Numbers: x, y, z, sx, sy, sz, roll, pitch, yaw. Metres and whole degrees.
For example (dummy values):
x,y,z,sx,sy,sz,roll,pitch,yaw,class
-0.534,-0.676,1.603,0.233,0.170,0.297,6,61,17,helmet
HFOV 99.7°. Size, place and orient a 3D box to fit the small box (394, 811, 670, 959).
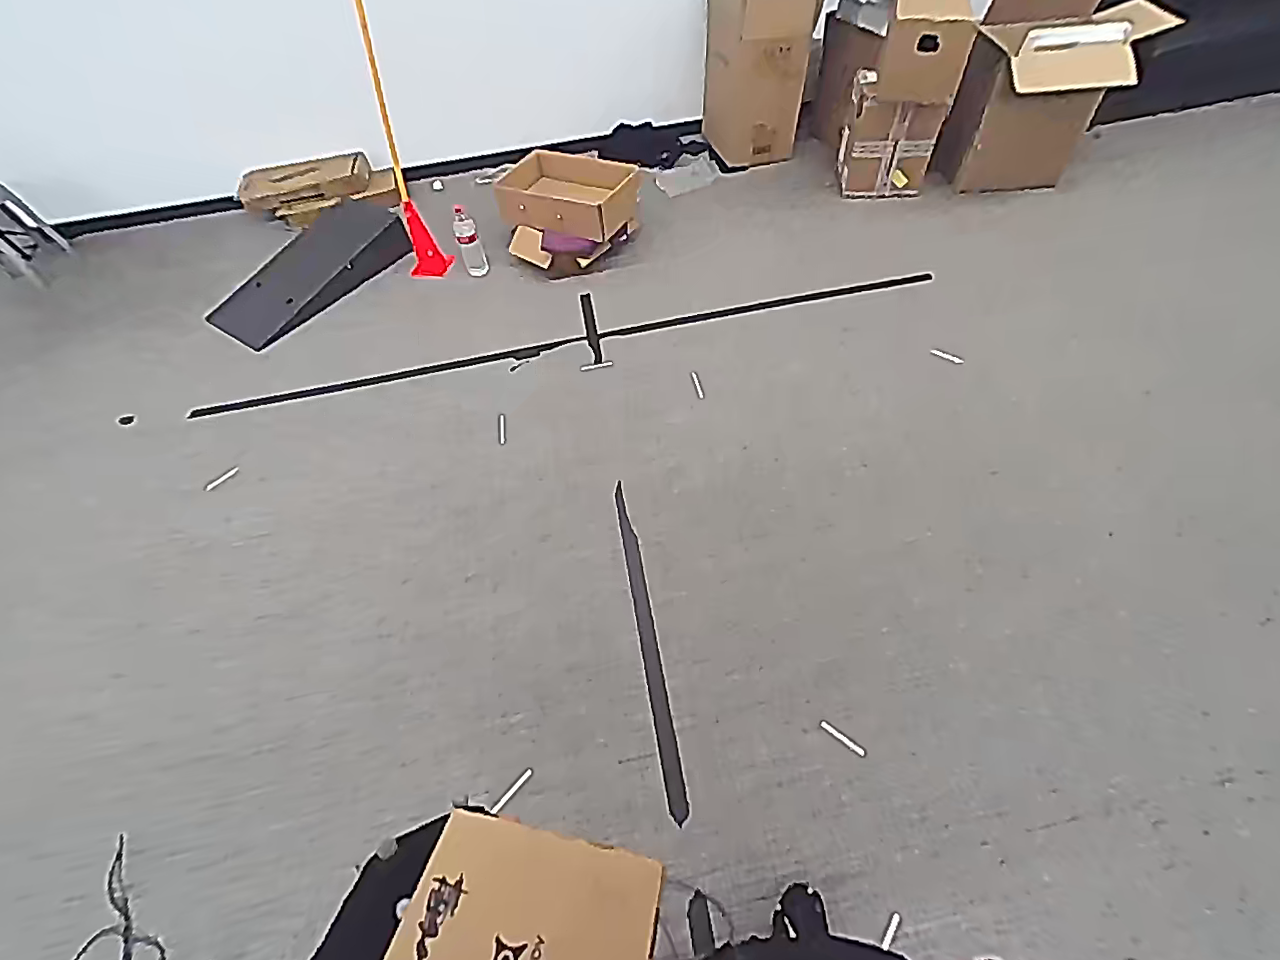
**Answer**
x,y,z,sx,sy,sz,roll,pitch,yaw,class
-0.084,0.393,0.408,0.179,0.176,0.168,10,34,7,small box
